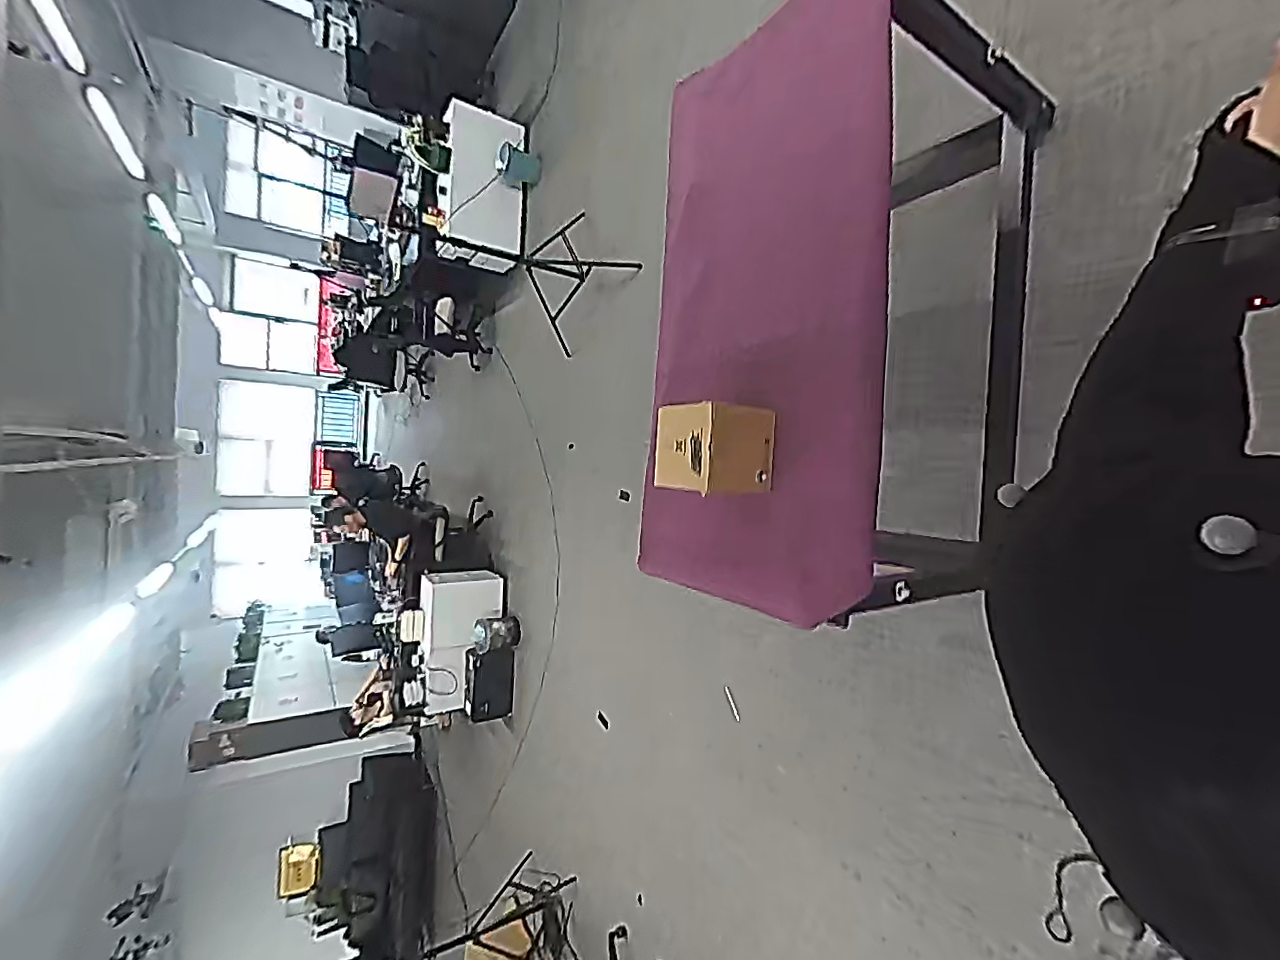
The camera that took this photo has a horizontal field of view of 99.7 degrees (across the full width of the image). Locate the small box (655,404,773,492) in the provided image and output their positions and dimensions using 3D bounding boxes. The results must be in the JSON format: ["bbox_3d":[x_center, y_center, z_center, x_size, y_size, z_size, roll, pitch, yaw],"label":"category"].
[{"bbox_3d":[0.152,-0.063,1.102,0.179,0.176,0.168,6,93,57],"label":"small box"}]
